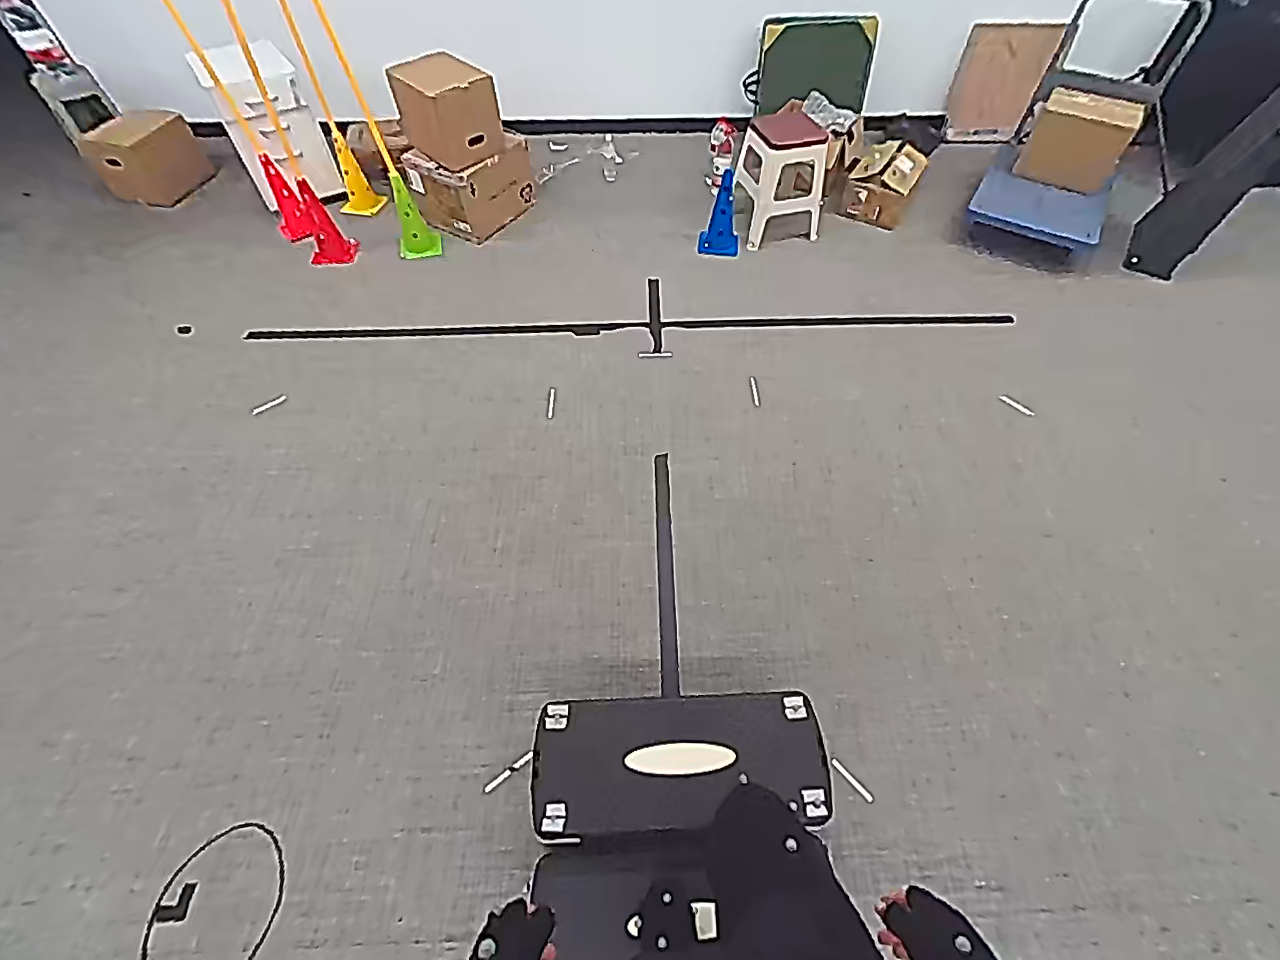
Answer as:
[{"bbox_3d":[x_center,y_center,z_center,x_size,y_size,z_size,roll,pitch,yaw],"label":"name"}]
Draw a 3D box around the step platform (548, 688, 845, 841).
[{"bbox_3d":[0.124,0.674,1.296,0.684,0.204,0.286,-2,55,-3],"label":"step platform"}]
